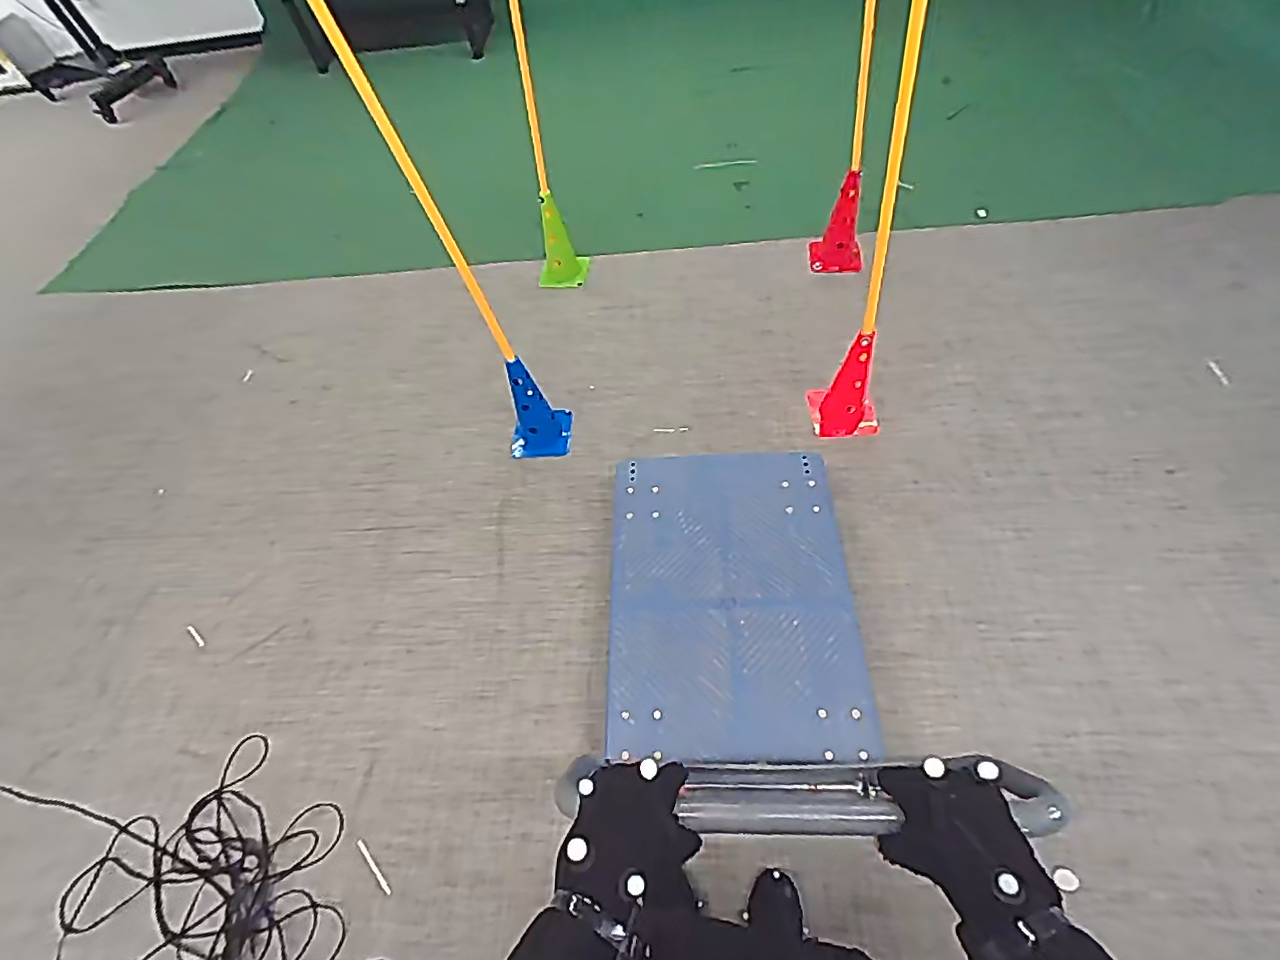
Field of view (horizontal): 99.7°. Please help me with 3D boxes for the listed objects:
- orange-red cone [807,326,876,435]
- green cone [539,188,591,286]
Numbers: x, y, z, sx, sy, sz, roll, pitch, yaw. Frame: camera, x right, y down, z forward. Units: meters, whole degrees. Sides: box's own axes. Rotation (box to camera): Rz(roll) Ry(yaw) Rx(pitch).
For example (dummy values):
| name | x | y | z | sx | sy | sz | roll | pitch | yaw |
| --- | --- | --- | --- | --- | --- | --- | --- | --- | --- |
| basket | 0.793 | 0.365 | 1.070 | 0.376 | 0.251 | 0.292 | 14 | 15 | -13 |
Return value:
| name | x | y | z | sx | sy | sz | roll | pitch | yaw |
| --- | --- | --- | --- | --- | --- | --- | --- | --- | --- |
| orange-red cone | 0.647 | -0.322 | 1.656 | 0.199 | 0.360 | 0.198 | -4 | 57 | 7 |
| green cone | -0.340 | -1.007 | 2.203 | 0.202 | 0.368 | 0.200 | 1 | 57 | 9 |
